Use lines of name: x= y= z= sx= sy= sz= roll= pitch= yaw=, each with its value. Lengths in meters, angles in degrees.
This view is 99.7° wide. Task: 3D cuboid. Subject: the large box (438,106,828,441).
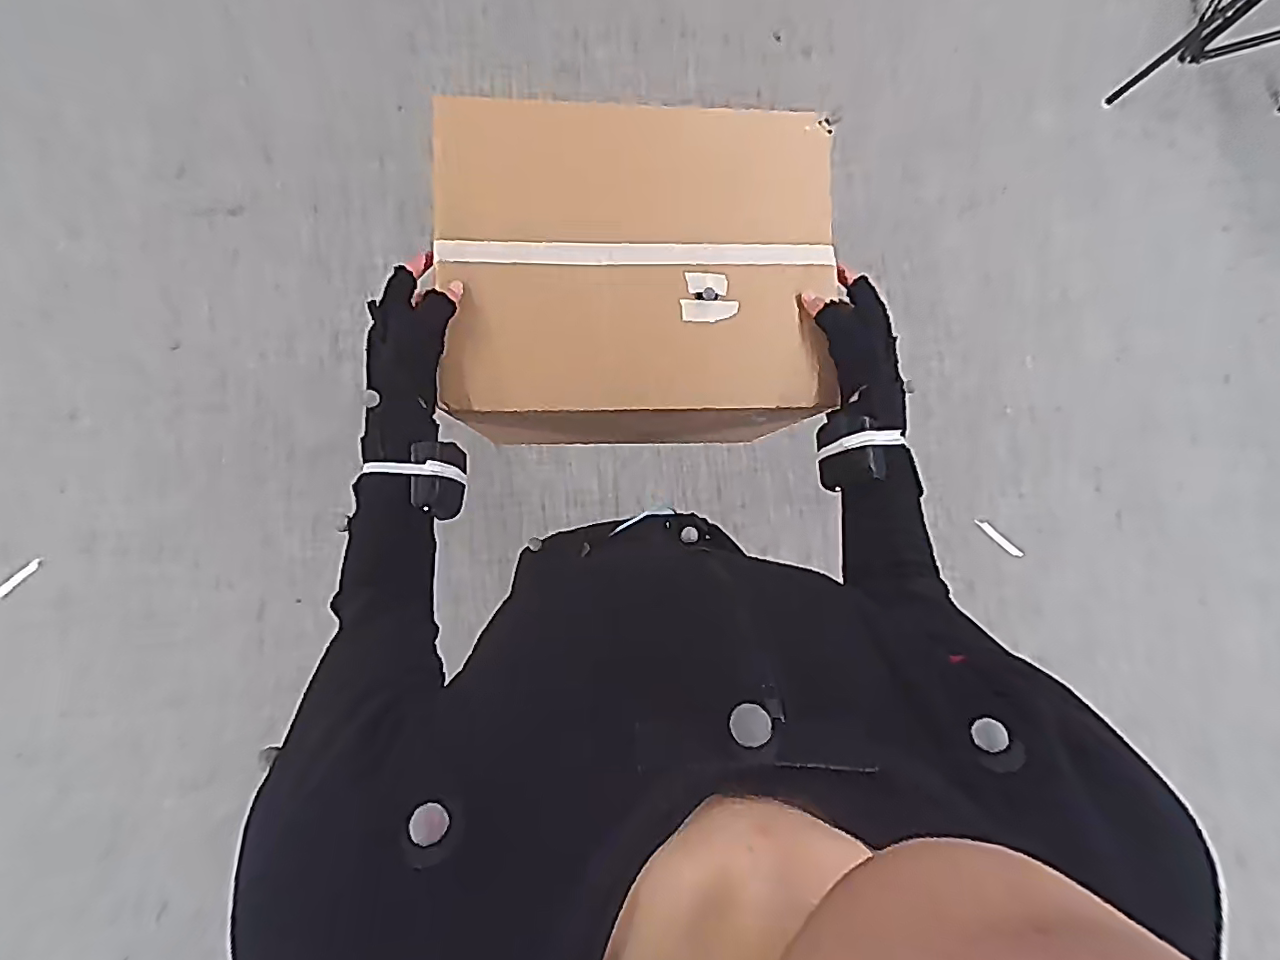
large box: x=-0.018 y=-0.226 z=0.707 sx=0.408 sy=0.320 sz=0.320 roll=-1 pitch=88 yaw=-6
